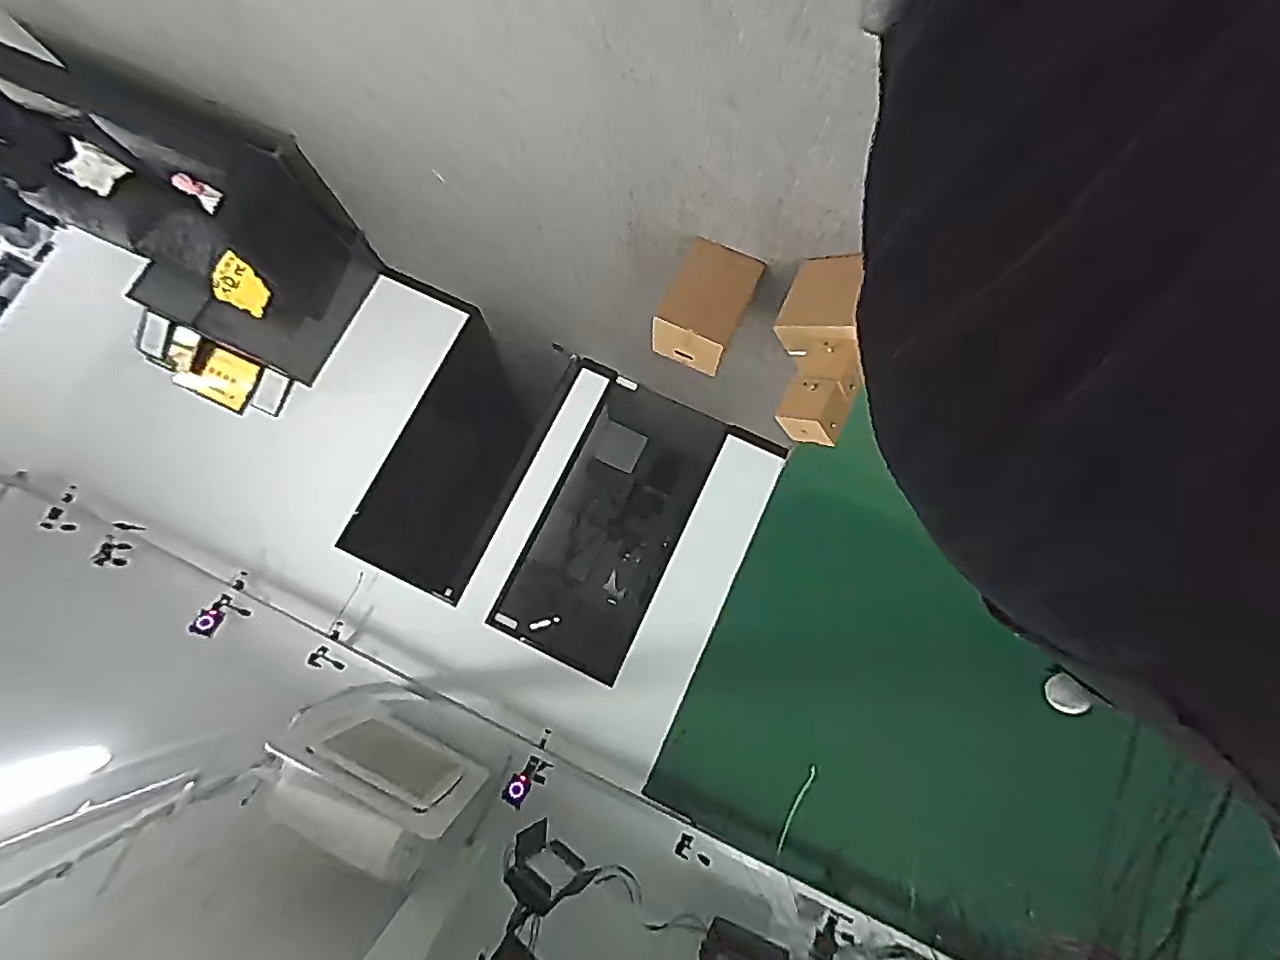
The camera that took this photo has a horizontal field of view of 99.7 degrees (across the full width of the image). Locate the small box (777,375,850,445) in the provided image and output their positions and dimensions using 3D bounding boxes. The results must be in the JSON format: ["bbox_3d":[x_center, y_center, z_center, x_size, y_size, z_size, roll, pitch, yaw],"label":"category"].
[{"bbox_3d":[0.611,-0.246,1.887,0.168,0.176,0.179,15,165,43],"label":"small box"}]

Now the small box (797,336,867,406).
[{"bbox_3d":[0.687,-0.386,1.918,0.168,0.176,0.179,16,165,40],"label":"small box"}]
